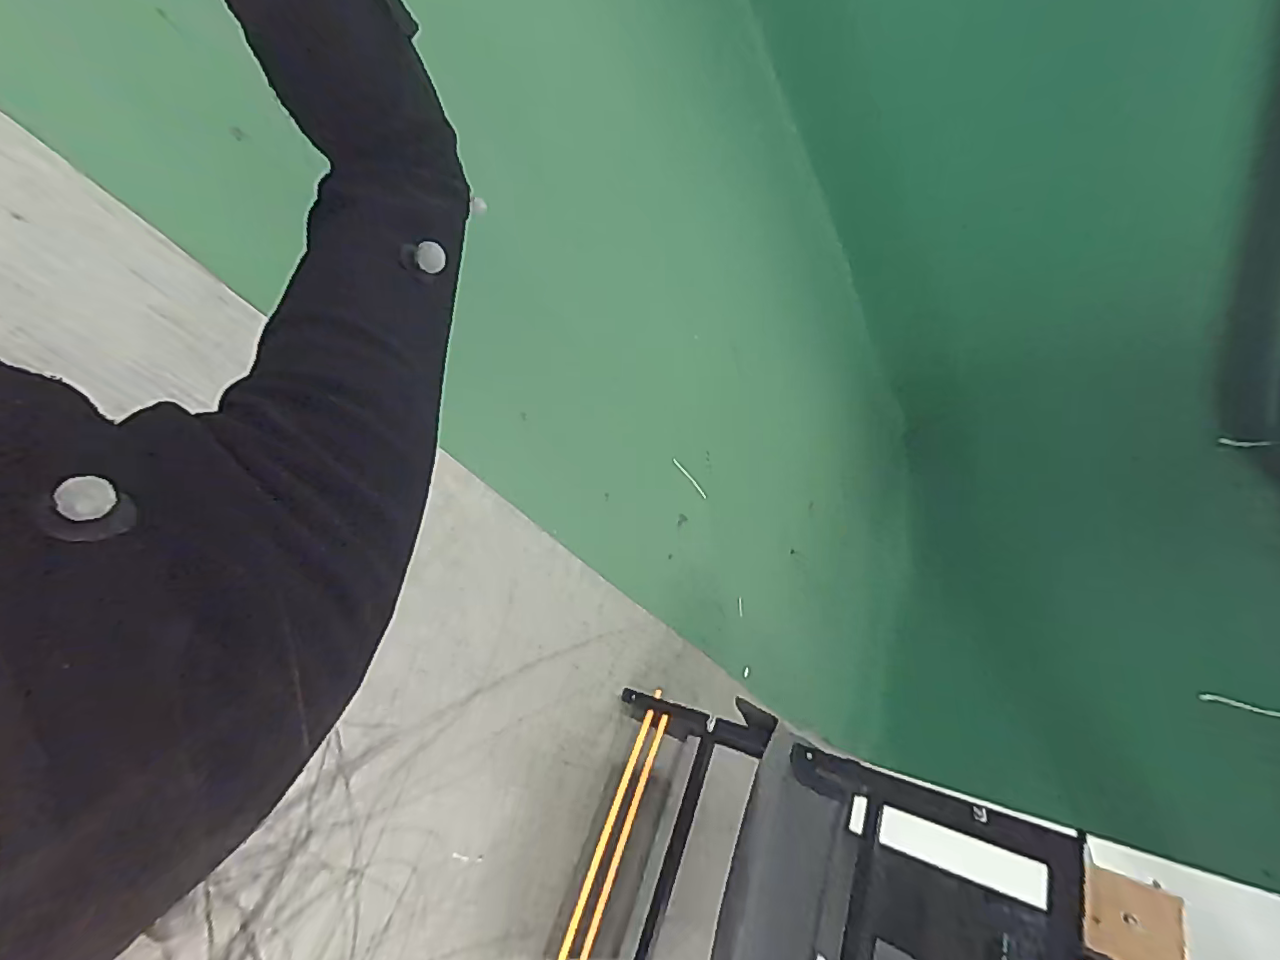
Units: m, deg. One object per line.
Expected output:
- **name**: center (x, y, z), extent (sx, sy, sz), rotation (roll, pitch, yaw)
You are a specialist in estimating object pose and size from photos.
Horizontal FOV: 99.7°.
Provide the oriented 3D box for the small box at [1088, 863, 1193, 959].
- **small box**: center (1.132, 1.002, 1.228), extent (0.179, 0.176, 0.168), rotation (37, 64, -42)
